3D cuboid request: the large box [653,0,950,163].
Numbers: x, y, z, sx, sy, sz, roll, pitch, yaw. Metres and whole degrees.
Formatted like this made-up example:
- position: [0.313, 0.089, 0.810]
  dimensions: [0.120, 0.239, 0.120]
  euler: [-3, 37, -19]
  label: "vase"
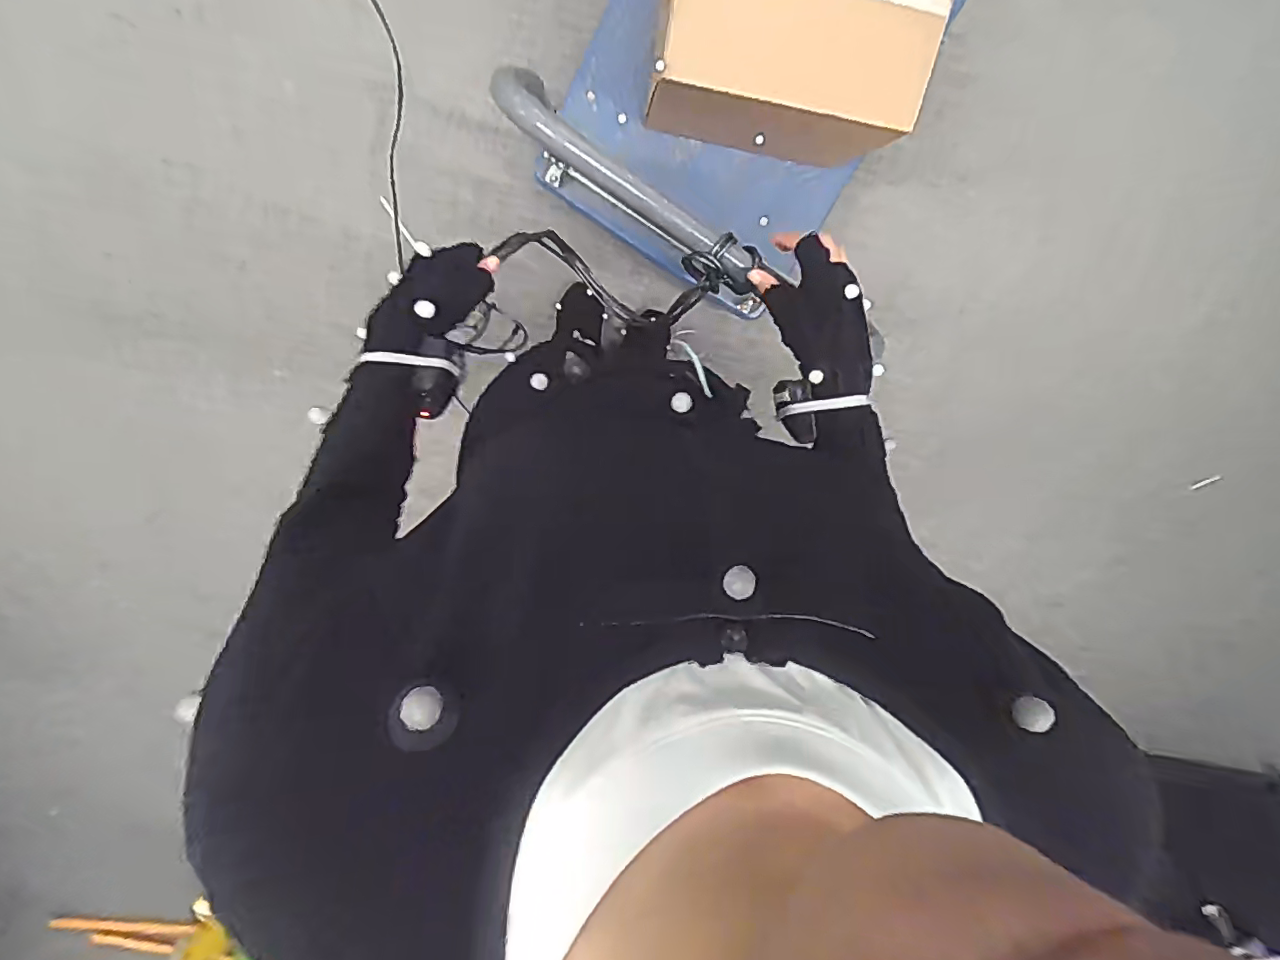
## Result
- position: [0.253, -0.769, 0.922]
  dimensions: [0.408, 0.320, 0.320]
  euler: [8, 110, -6]
  label: "large box"
